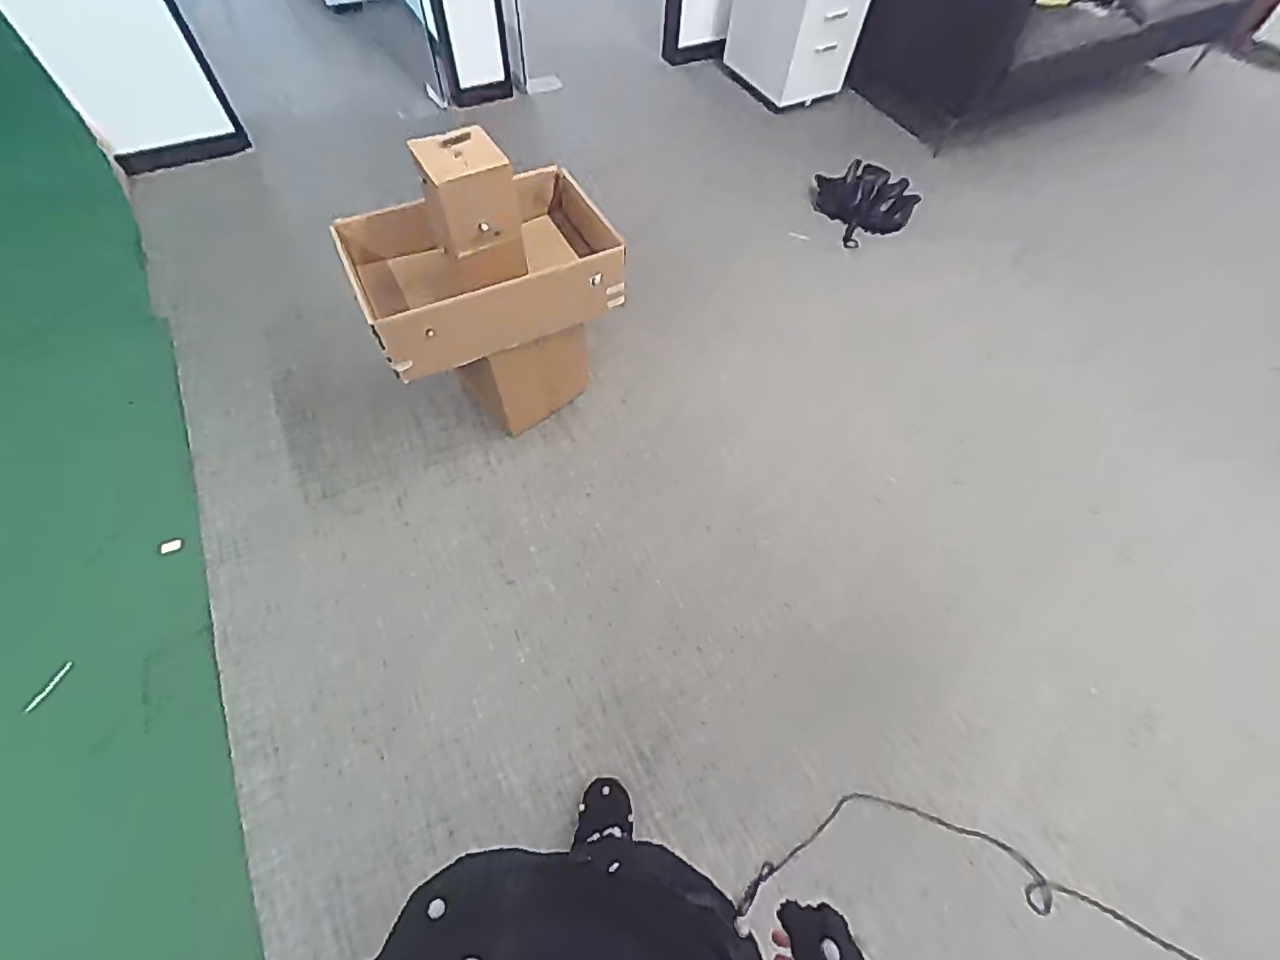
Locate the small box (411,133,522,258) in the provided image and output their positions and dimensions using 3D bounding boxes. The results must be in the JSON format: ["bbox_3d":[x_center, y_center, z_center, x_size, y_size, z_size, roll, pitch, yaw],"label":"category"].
[{"bbox_3d":[-0.385,-0.638,1.218,0.168,0.176,0.179,-27,64,-16],"label":"small box"}]

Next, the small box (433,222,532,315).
[{"bbox_3d":[-0.390,-0.550,1.357,0.168,0.176,0.179,-29,64,-17],"label":"small box"}]
